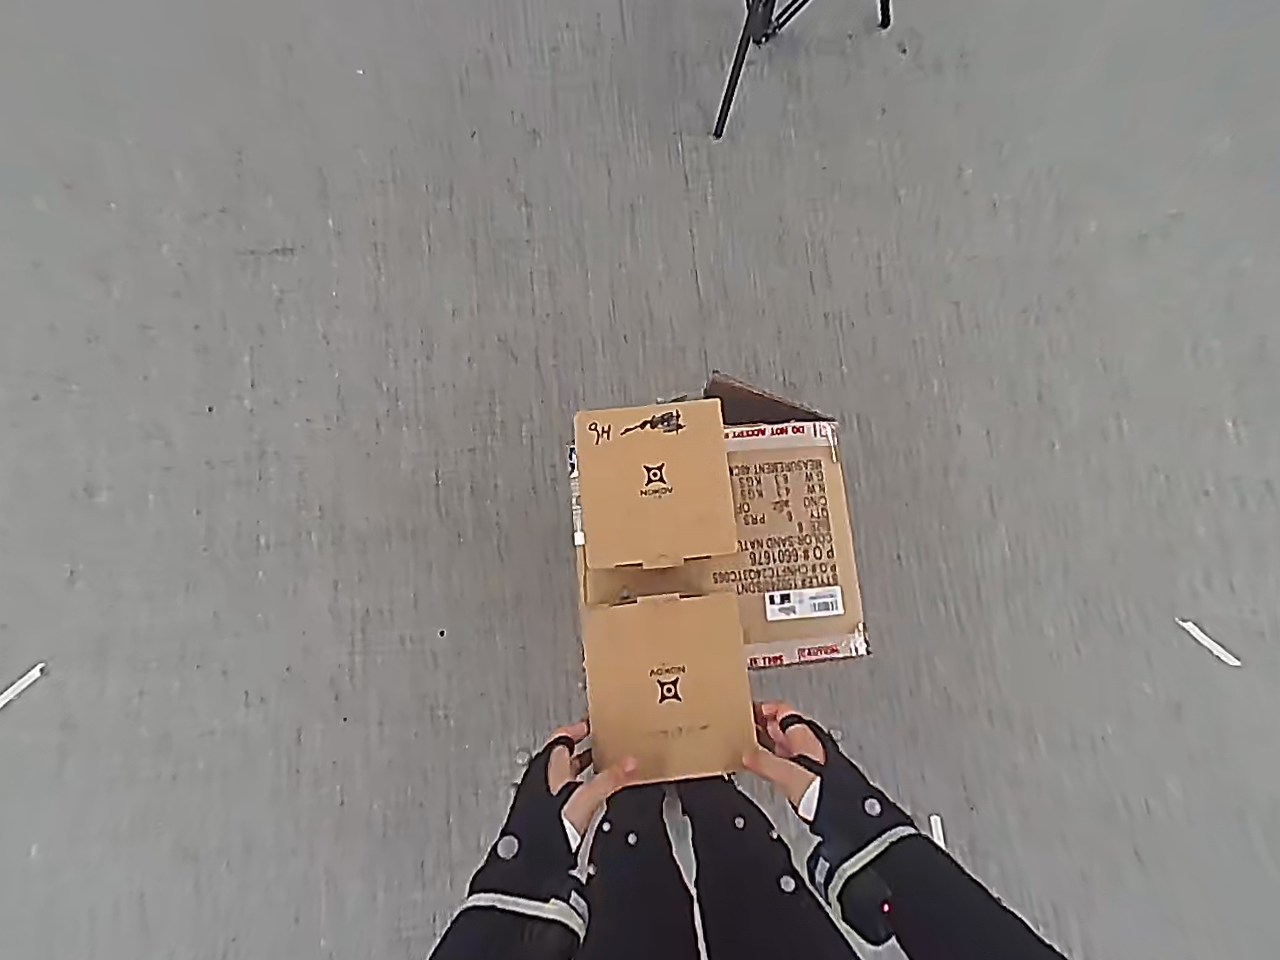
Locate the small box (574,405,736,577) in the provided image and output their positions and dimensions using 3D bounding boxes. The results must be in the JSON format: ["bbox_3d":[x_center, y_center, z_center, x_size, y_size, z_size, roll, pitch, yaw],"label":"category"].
[{"bbox_3d":[0.015,0.017,0.665,0.168,0.176,0.179,-6,85,-2],"label":"small box"}]

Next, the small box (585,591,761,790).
[{"bbox_3d":[0.029,0.225,0.622,0.168,0.176,0.179,-6,80,-2],"label":"small box"}]
